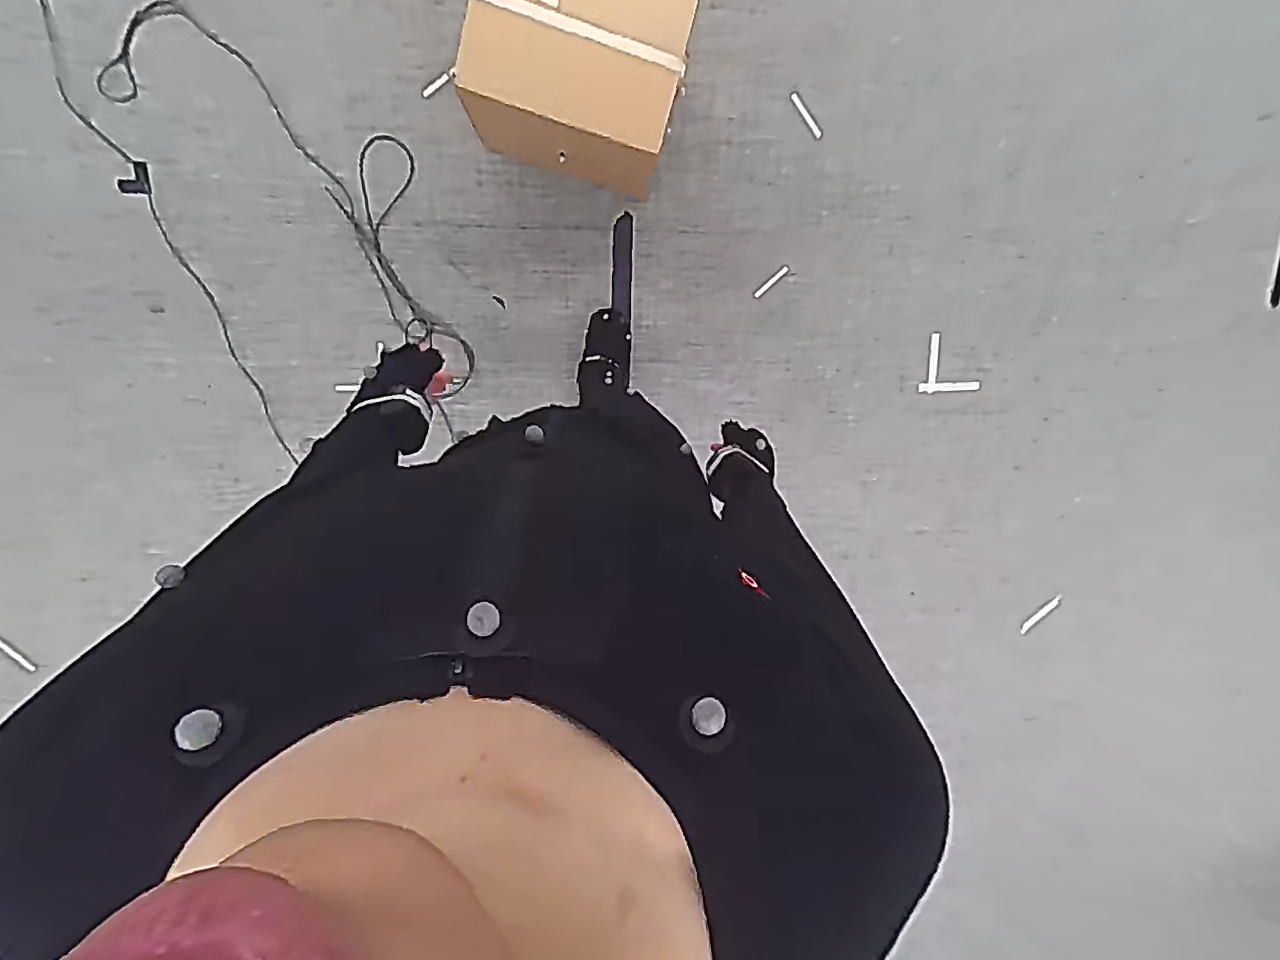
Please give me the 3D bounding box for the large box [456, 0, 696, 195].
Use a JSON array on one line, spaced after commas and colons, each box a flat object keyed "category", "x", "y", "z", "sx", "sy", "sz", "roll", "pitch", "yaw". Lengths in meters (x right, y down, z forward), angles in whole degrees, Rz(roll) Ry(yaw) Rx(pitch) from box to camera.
[{"category": "large box", "x": -0.125, "y": -0.861, "z": 1.152, "sx": 0.408, "sy": 0.320, "sz": 0.320, "roll": 14, "pitch": 100, "yaw": -7}]
